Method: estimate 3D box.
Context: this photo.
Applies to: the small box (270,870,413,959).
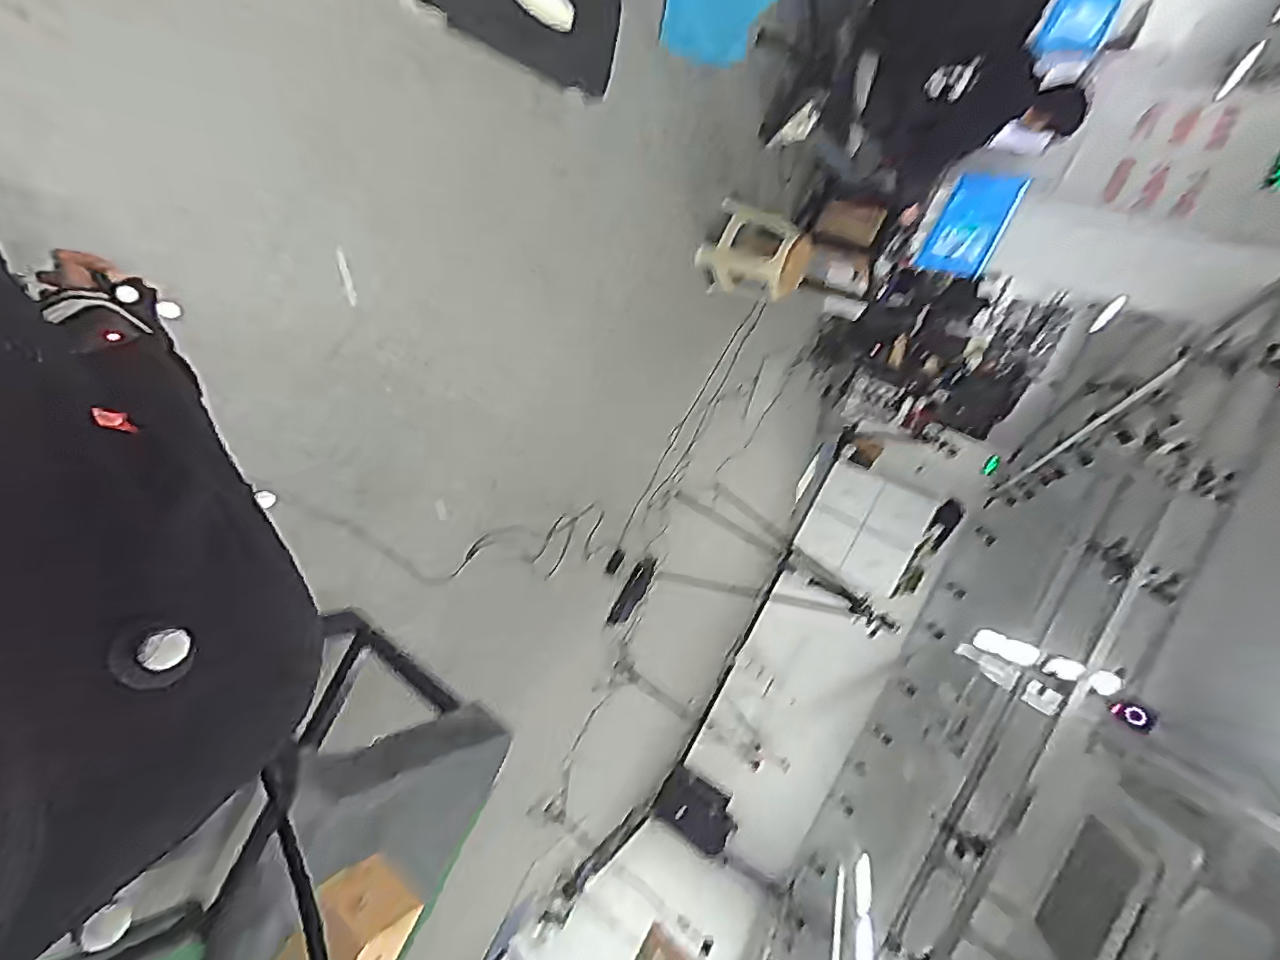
[{"bbox_3d":[-0.624,0.961,1.125,0.179,0.176,0.168,-61,156,-2],"label":"small box"}]
